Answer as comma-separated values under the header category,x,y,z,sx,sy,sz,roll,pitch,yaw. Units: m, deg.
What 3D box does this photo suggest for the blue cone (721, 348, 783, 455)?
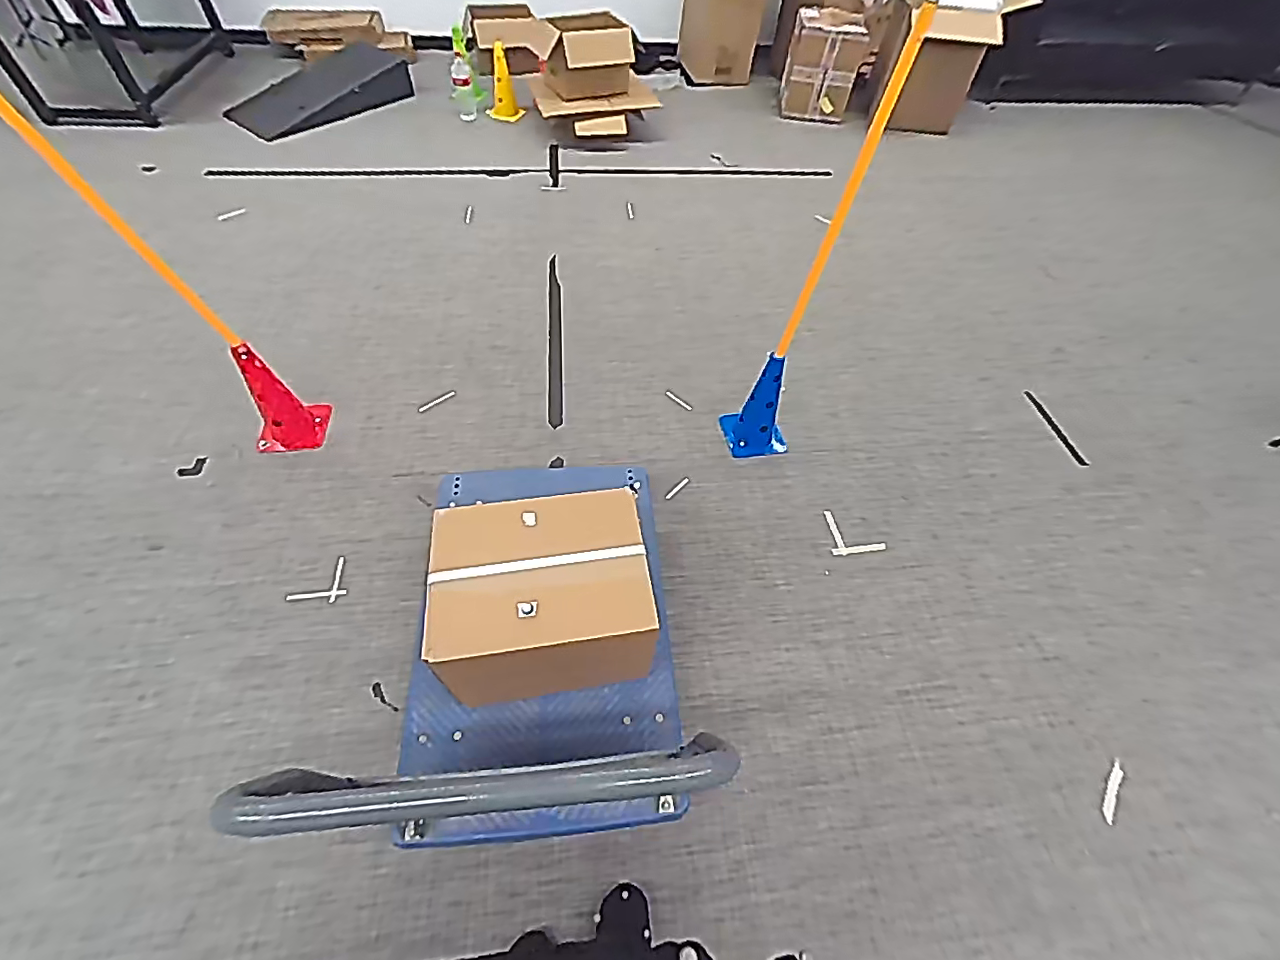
category,x,y,z,sx,sy,sz,roll,pitch,yaw
blue cone,0.404,-0.265,1.769,0.193,0.380,0.192,-6,53,-9
